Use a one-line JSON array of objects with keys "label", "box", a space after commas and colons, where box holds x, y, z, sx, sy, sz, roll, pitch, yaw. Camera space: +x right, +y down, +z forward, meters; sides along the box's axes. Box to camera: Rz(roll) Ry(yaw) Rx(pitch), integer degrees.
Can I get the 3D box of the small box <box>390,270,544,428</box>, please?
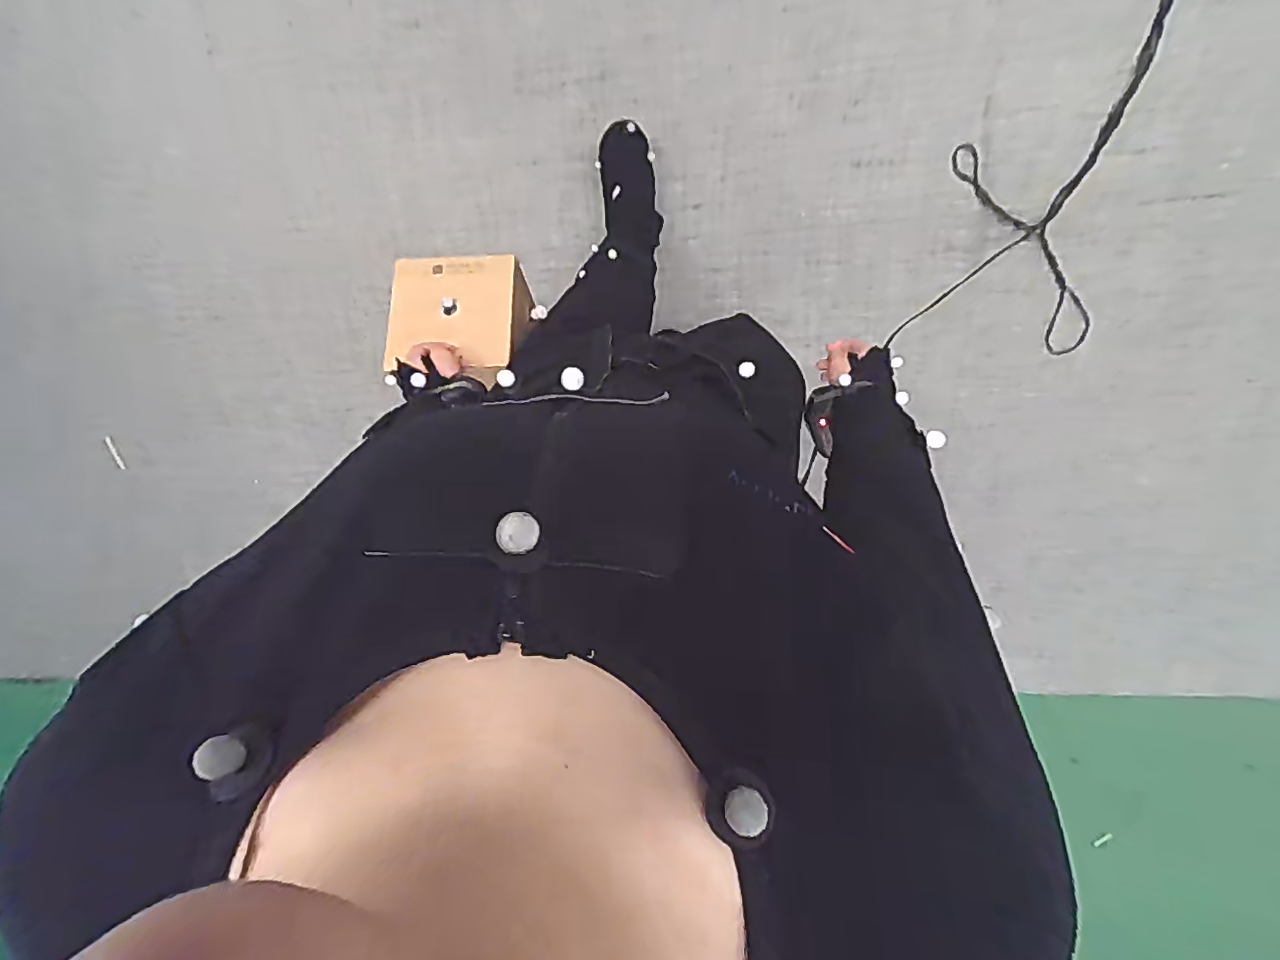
[{"label": "small box", "box": [-0.240, -0.190, 0.793, 0.168, 0.179, 0.176, -2, 73, 3]}]
